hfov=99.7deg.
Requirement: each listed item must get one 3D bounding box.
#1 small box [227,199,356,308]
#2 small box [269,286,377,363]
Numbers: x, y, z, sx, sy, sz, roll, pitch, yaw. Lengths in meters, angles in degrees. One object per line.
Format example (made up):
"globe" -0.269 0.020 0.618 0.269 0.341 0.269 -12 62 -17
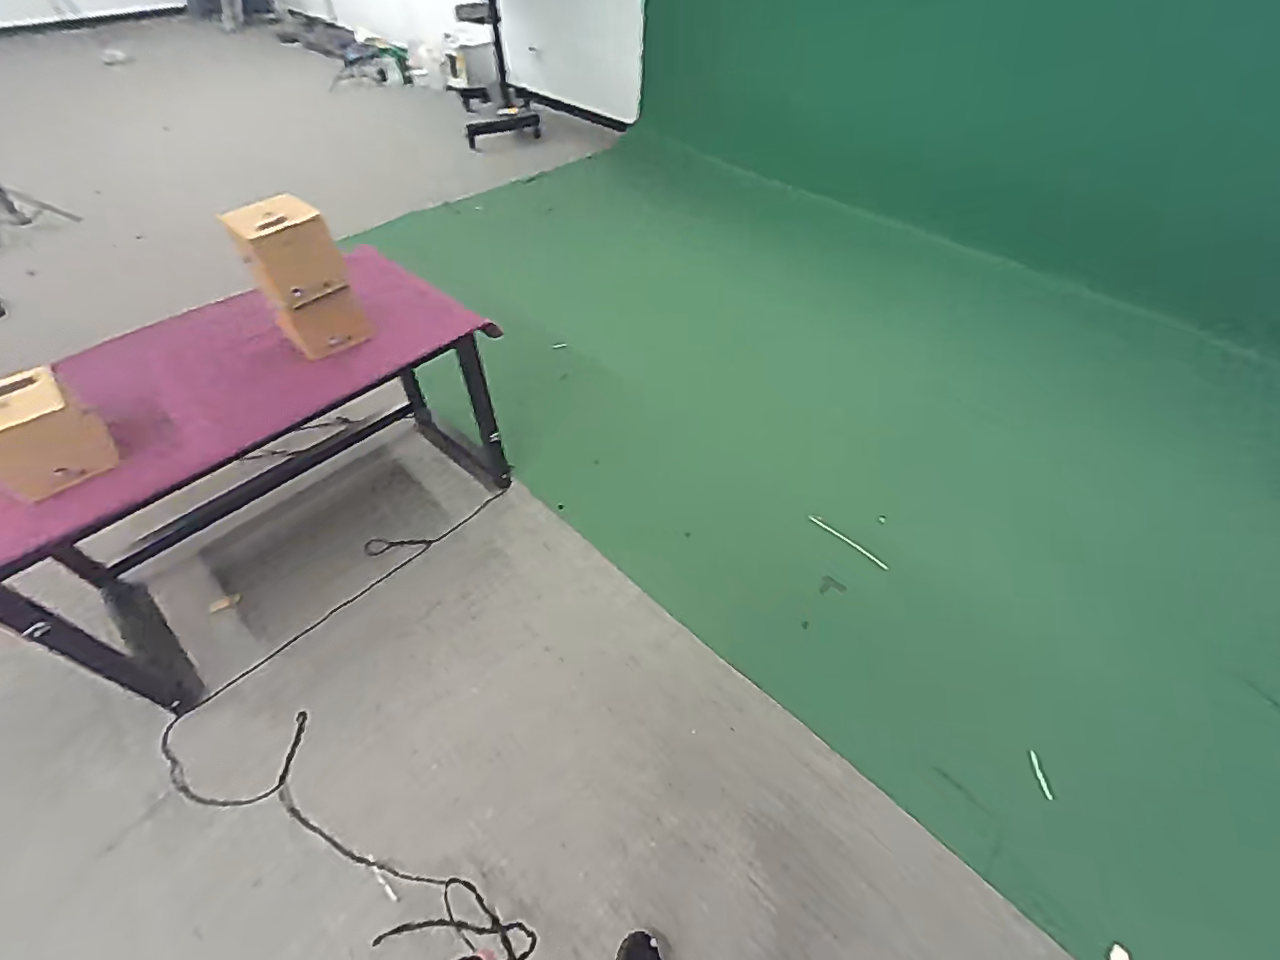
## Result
"small box" -0.811 -0.529 1.275 0.179 0.176 0.168 35 58 28
"small box" -0.825 -0.434 1.409 0.168 0.176 0.179 -37 59 -27
